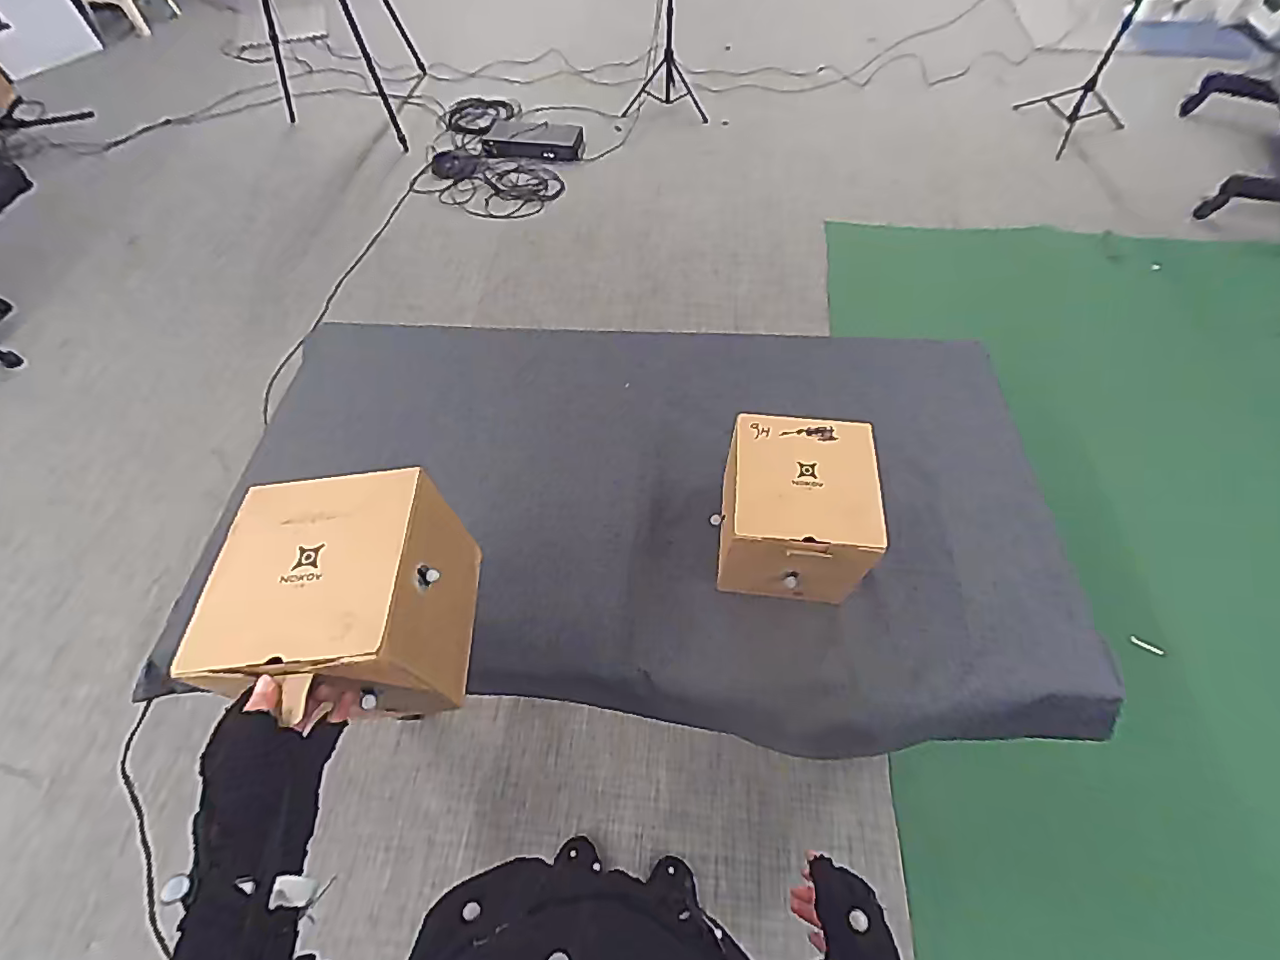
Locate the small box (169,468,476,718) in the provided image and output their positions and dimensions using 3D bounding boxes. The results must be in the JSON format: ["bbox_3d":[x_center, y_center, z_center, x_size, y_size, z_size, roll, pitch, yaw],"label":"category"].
[{"bbox_3d":[-0.266,0.114,0.509,0.168,0.176,0.179,-6,53,2],"label":"small box"}]
